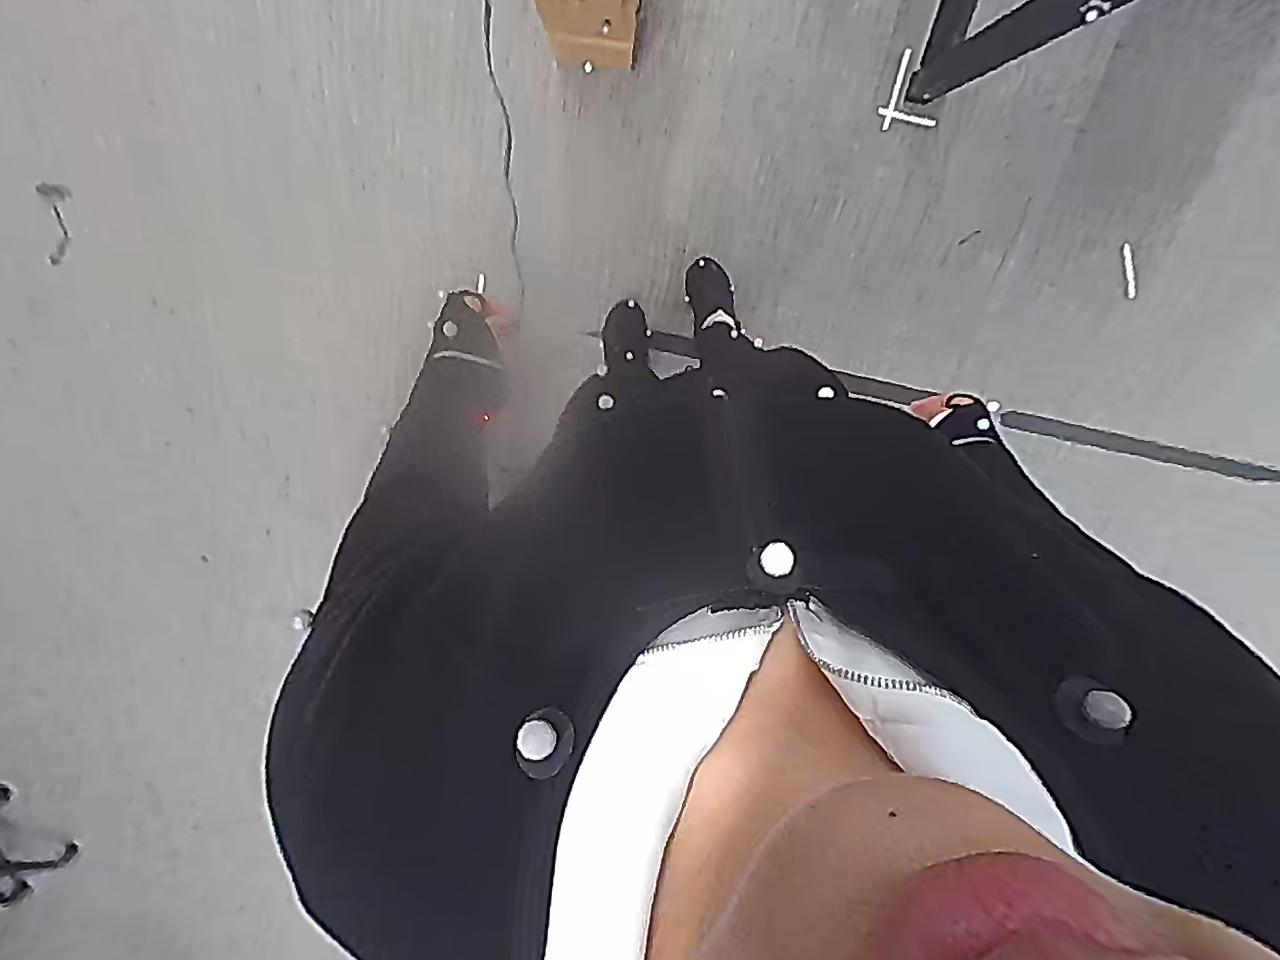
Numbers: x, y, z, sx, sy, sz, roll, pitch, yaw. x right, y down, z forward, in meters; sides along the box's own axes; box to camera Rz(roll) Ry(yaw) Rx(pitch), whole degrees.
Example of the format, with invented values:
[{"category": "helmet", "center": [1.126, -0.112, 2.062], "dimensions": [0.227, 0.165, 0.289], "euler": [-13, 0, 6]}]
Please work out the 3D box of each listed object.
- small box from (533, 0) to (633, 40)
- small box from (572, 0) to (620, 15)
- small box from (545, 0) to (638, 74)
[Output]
[{"category": "small box", "center": [-0.091, -0.894, 0.926], "dimensions": [0.168, 0.176, 0.179], "euler": [3, 111, -3]}, {"category": "small box", "center": [-0.087, -0.830, 0.775], "dimensions": [0.168, 0.176, 0.179], "euler": [17, 110, -8]}, {"category": "small box", "center": [-0.092, -0.950, 1.078], "dimensions": [0.168, 0.176, 0.179], "euler": [7, 113, -3]}]
